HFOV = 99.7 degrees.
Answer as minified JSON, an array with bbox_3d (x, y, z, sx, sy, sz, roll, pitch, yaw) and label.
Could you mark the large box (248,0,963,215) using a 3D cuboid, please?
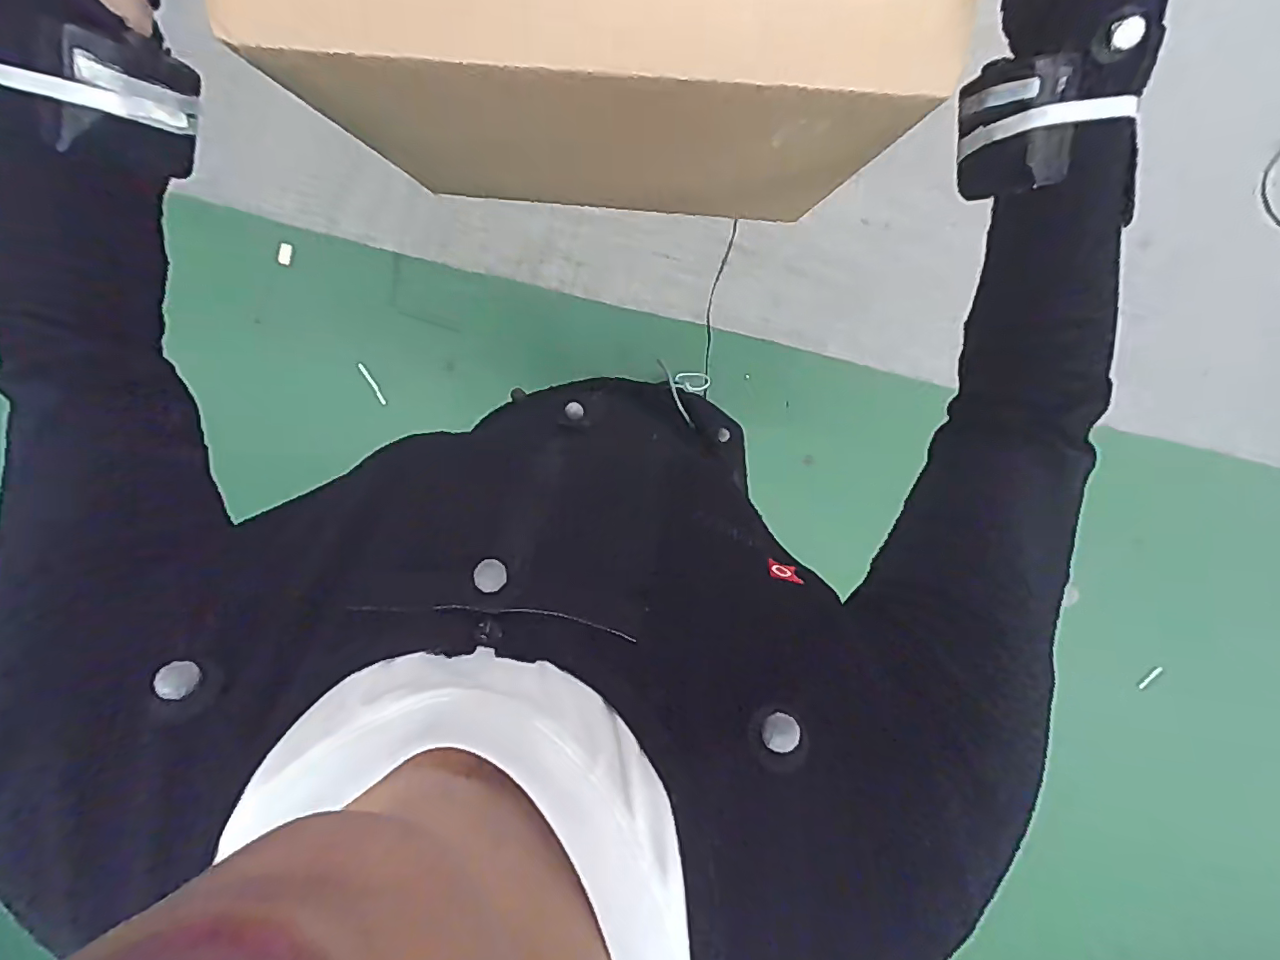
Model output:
[{"bbox_3d":[-0.013,-0.414,0.416,0.408,0.320,0.320,4,105,-1],"label":"large box"}]
